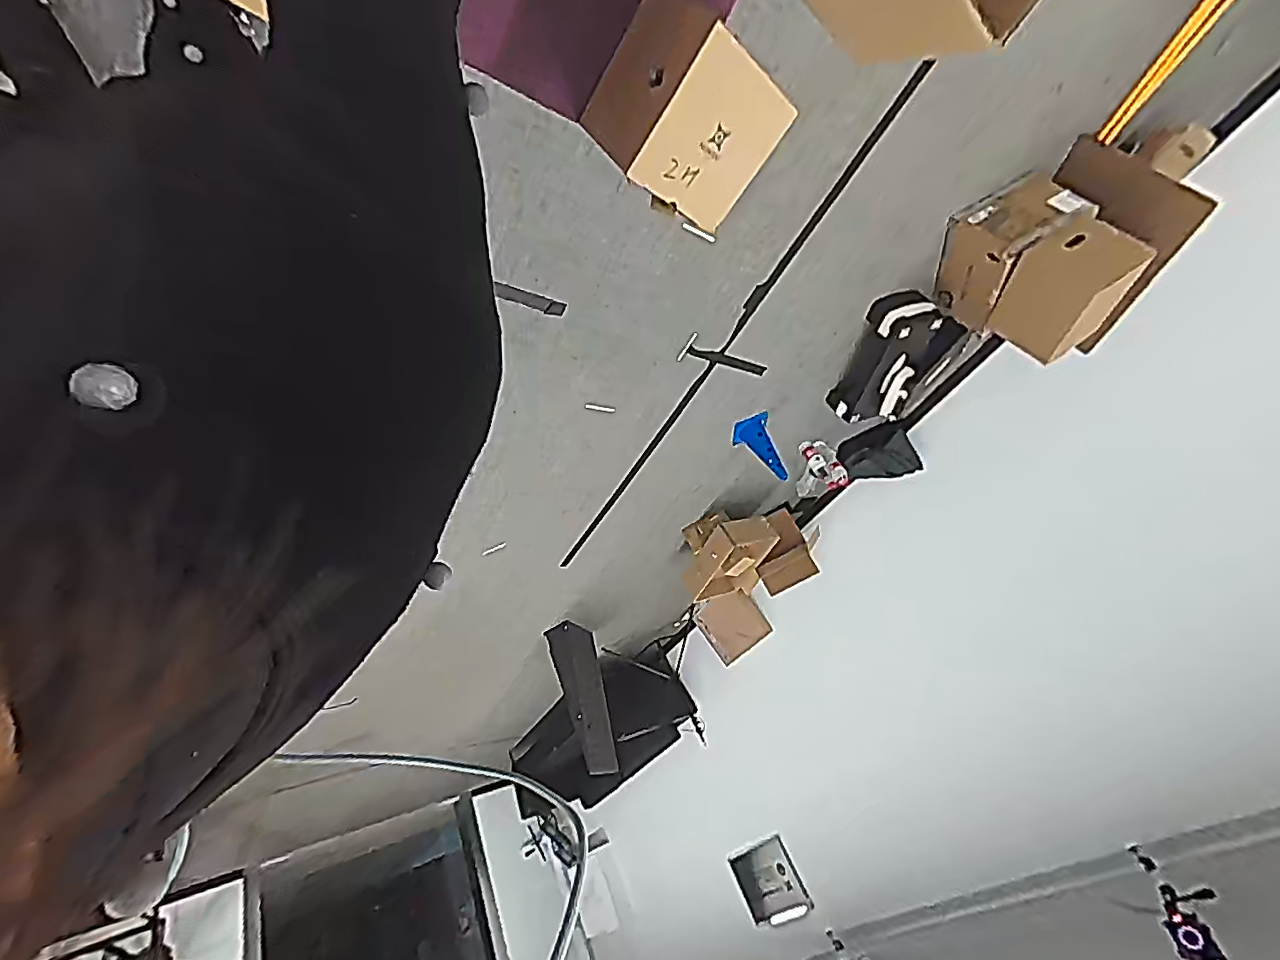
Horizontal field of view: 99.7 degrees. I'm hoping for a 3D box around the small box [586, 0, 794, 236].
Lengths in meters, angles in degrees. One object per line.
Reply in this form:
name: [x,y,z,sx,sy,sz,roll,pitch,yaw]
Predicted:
small box: [0.055,-0.465,0.700,0.168,0.176,0.179,10,131,-44]
